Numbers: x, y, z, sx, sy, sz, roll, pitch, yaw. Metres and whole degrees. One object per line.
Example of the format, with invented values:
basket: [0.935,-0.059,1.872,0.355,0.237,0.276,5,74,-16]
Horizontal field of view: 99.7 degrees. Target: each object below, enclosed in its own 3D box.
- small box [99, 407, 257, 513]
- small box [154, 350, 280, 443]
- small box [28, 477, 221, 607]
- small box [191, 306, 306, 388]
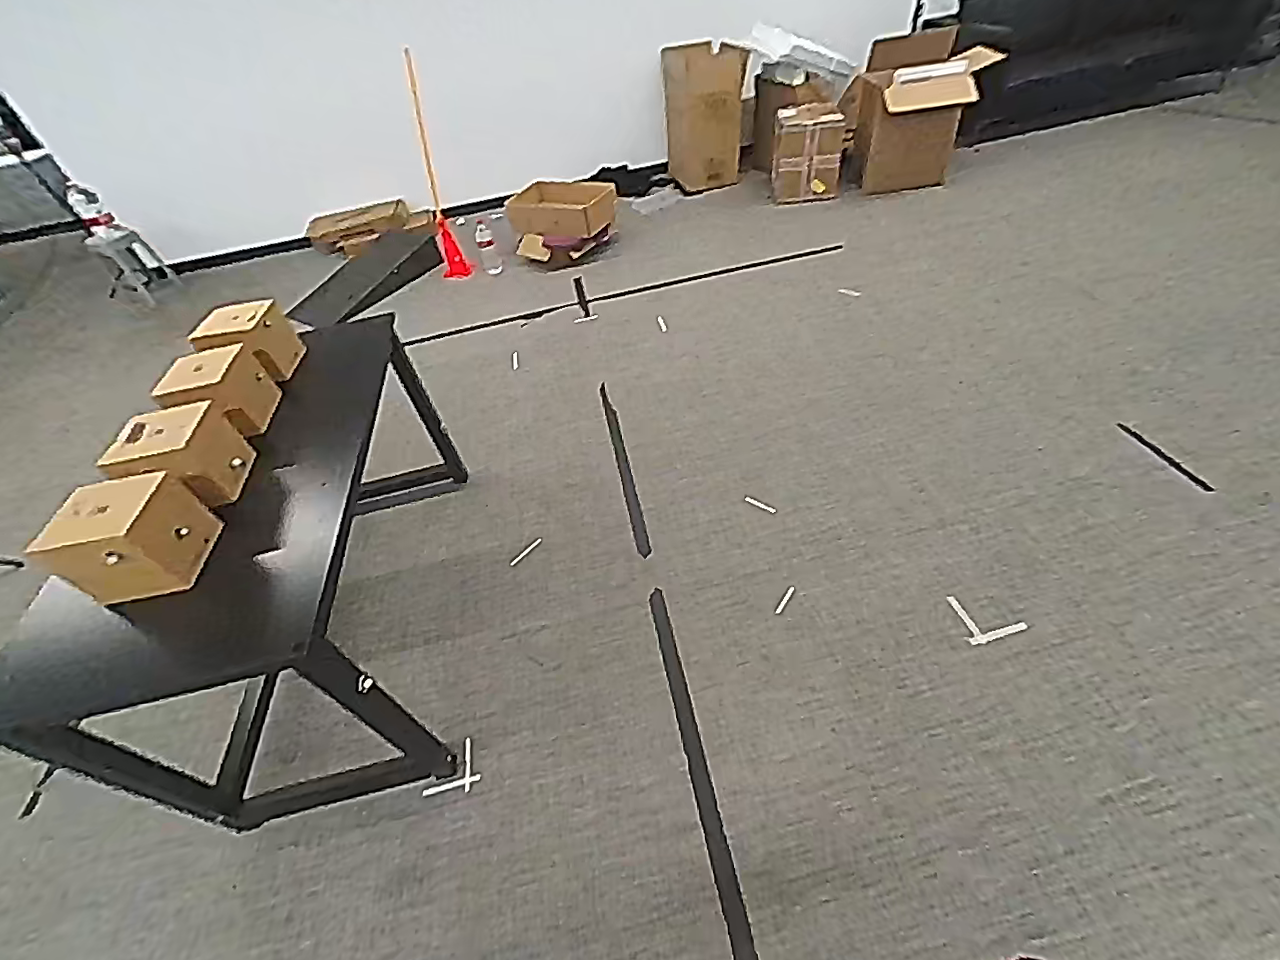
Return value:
small box: [-1.008,-0.033,1.199,0.179,0.176,0.168,-13,45,-5]
small box: [-1.059,-0.201,1.376,0.168,0.176,0.179,-14,46,-2]
small box: [-0.969,0.122,1.042,0.179,0.176,0.168,-11,45,-1]
small box: [-1.105,-0.368,1.543,0.179,0.176,0.168,-10,46,1]
